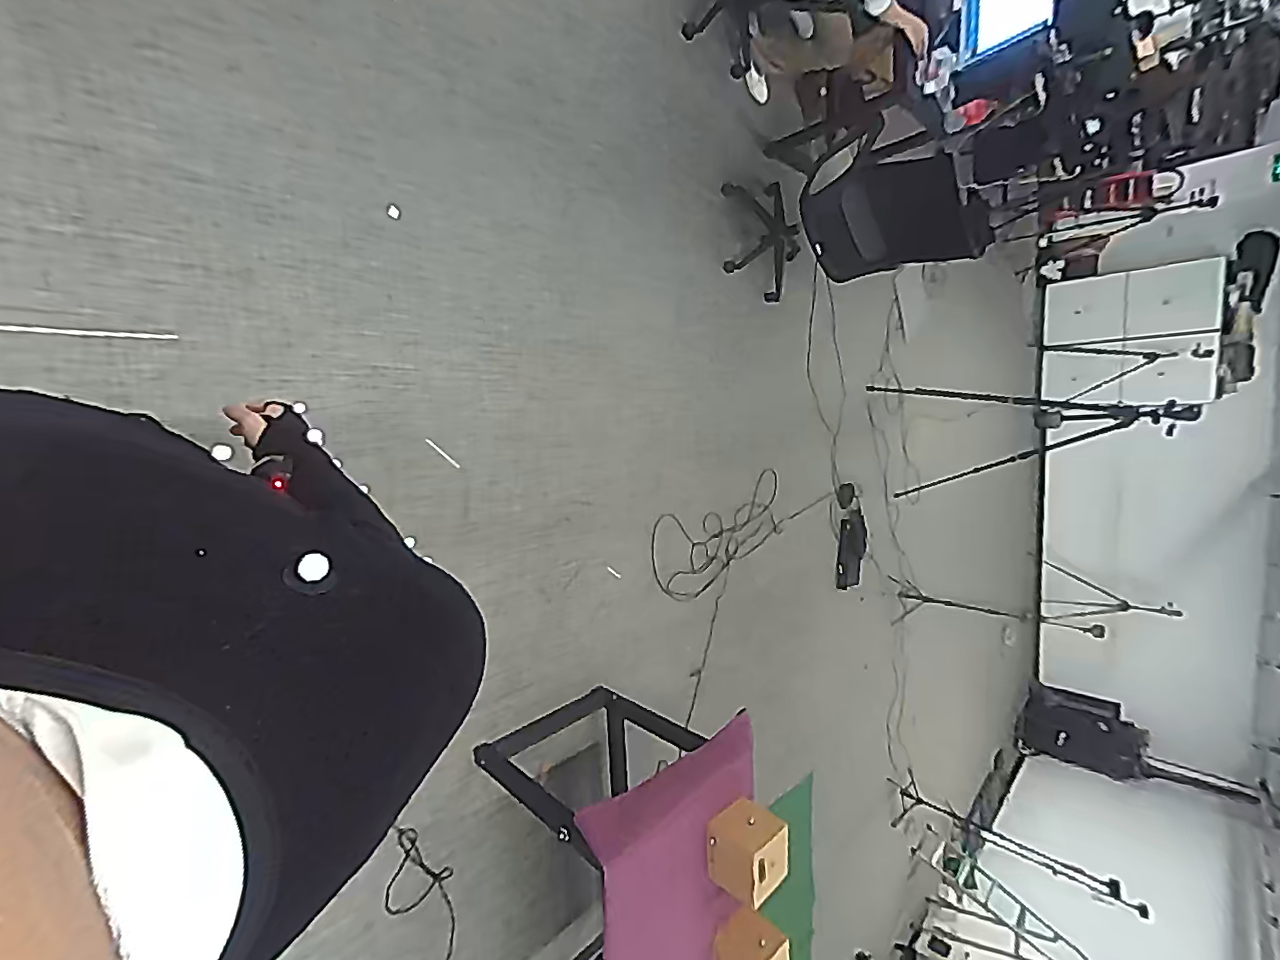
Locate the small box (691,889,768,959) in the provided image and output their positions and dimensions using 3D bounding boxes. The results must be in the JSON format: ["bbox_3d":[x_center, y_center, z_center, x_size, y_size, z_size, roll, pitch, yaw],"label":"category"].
[{"bbox_3d":[0.279,1.441,1.692,0.179,0.176,0.168,-4,96,-45],"label":"small box"}]

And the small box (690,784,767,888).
[{"bbox_3d":[0.267,1.068,1.638,0.179,0.176,0.168,-7,99,-45],"label":"small box"}]
